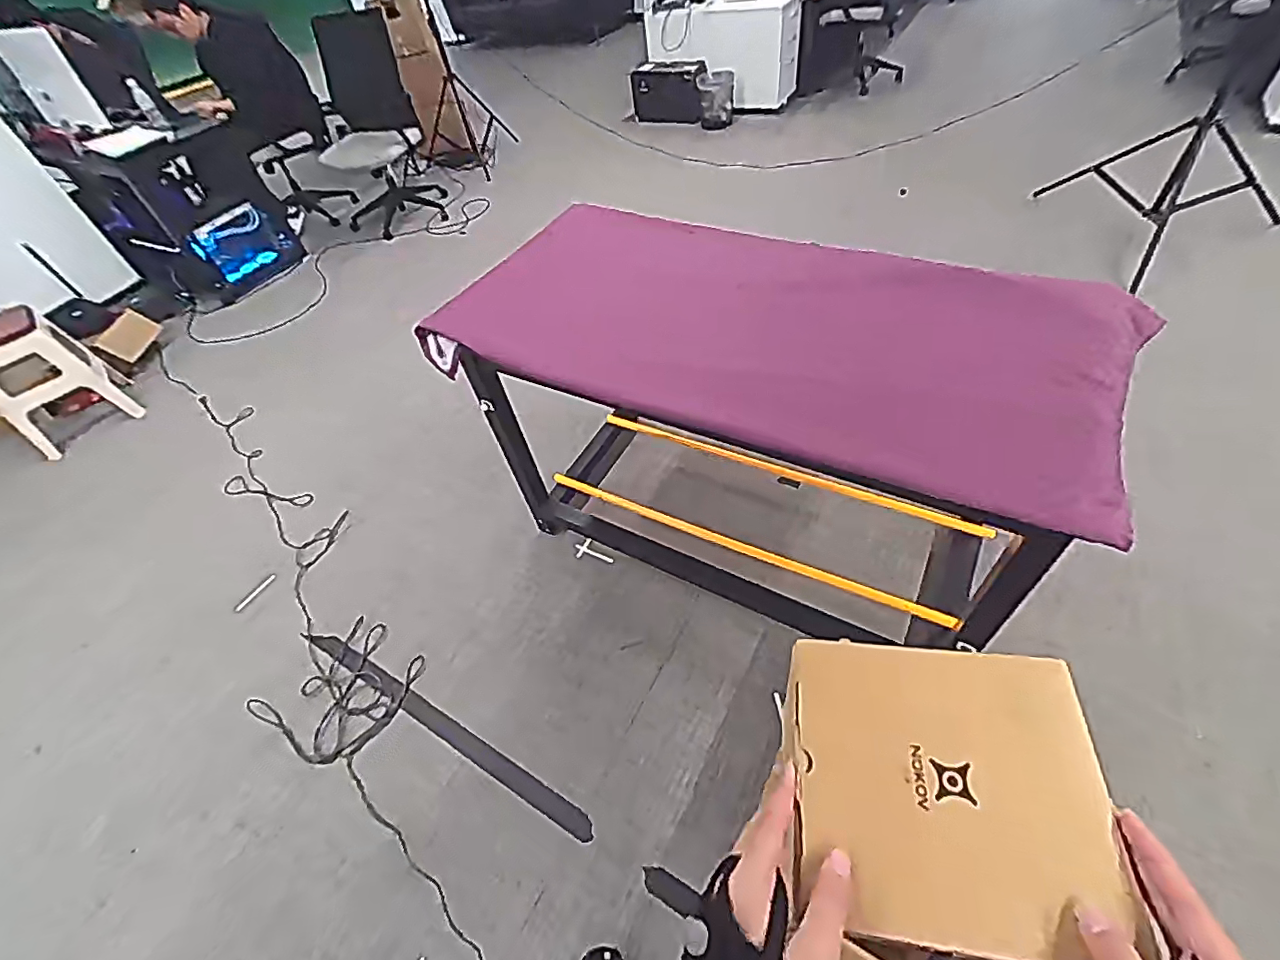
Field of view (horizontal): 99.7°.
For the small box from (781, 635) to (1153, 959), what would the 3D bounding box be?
[{"bbox_3d":[0.196,0.229,0.393,0.179,0.176,0.168,0,52,13],"label":"small box"}]
